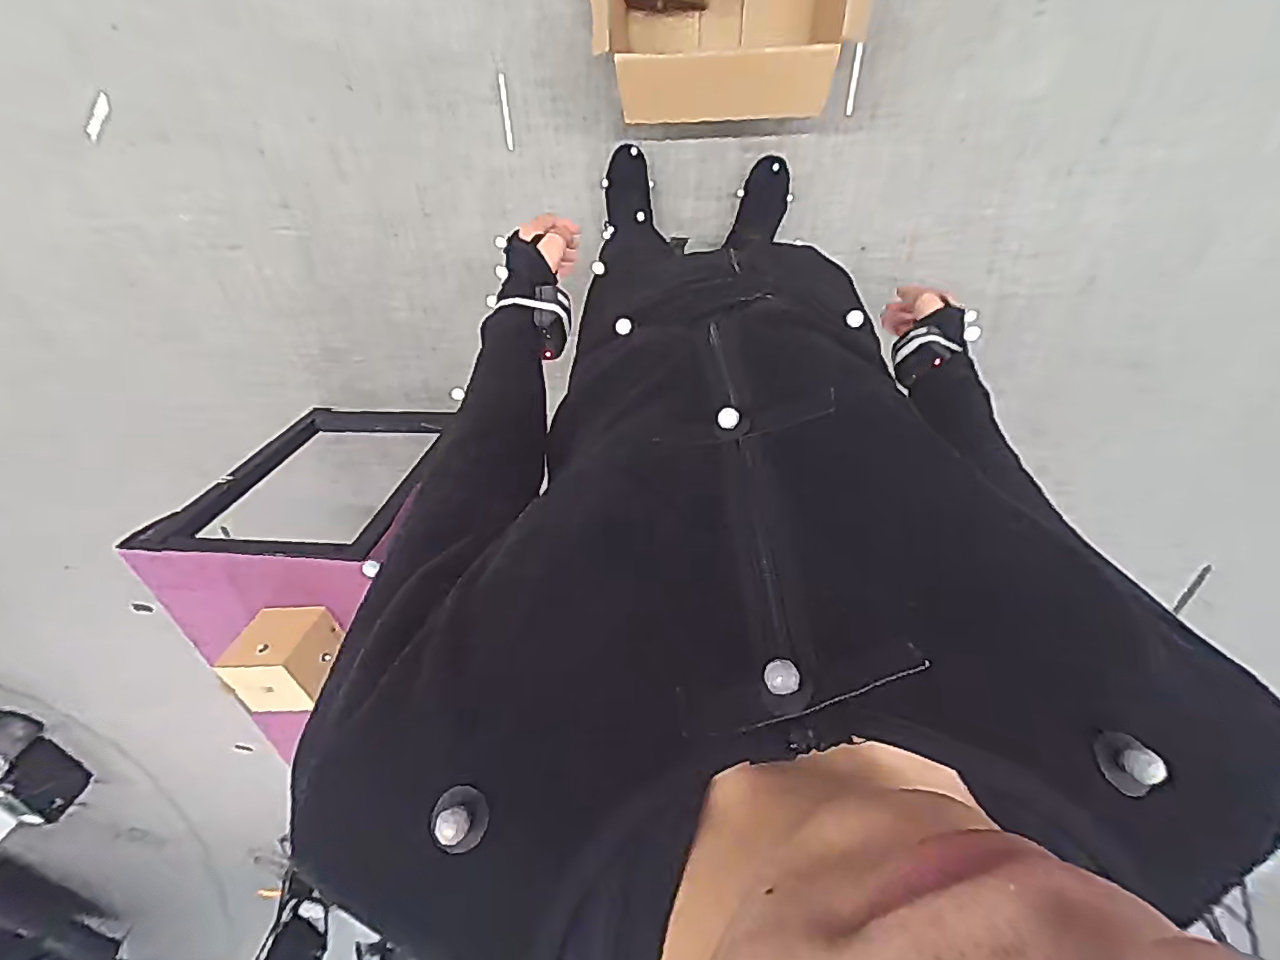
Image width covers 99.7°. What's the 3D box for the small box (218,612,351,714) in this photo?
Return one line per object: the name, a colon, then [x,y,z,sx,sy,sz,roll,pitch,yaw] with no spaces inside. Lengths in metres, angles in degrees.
small box: [-0.814,0.426,1.269,0.179,0.176,0.168,-4,124,10]
